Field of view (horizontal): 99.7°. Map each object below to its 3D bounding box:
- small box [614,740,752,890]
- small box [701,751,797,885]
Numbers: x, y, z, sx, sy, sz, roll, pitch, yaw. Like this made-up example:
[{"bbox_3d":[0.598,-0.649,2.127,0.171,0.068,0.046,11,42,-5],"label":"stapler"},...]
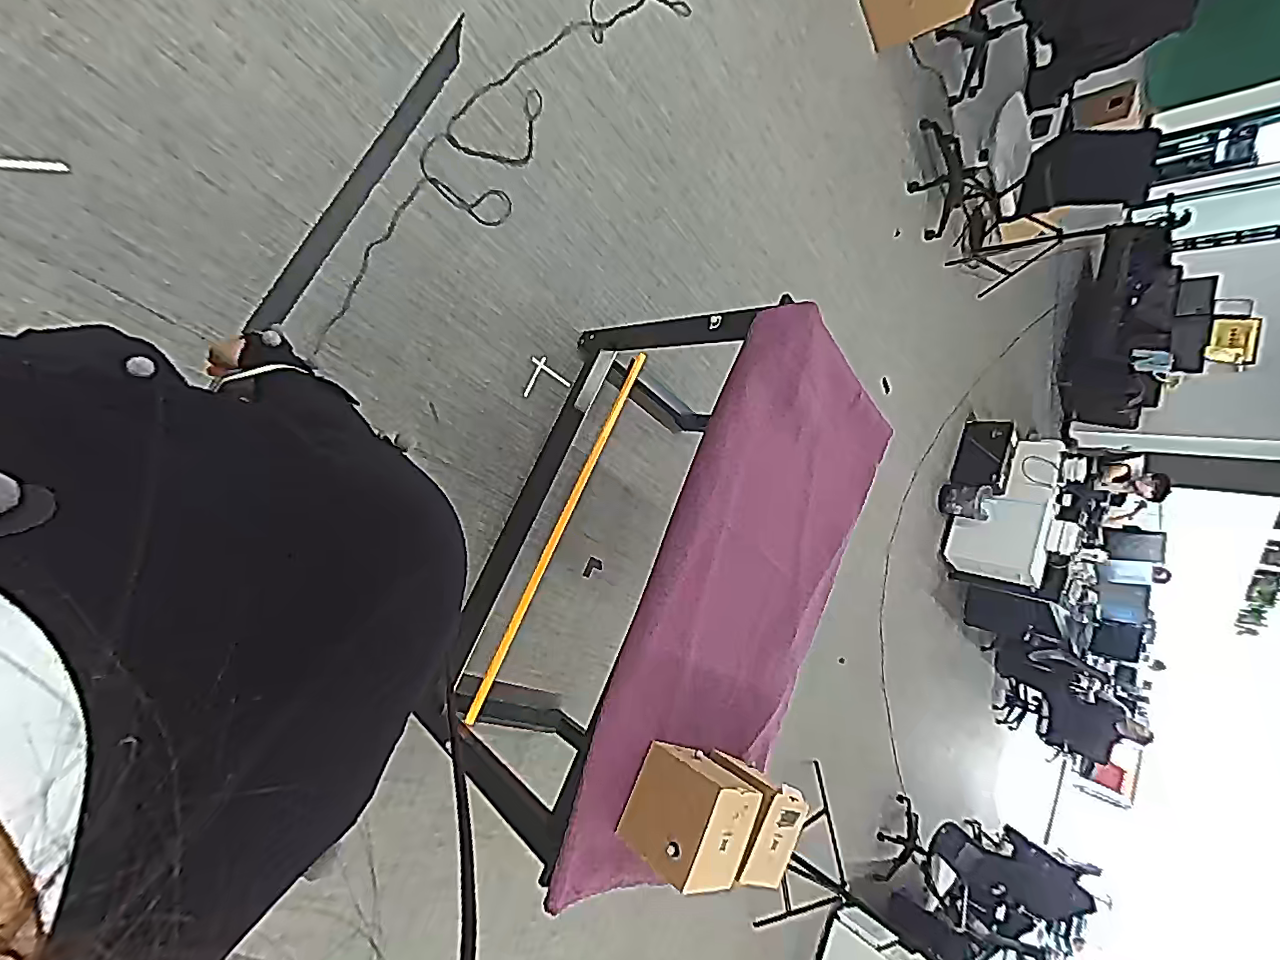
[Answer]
[{"bbox_3d":[0.076,0.621,1.011,0.168,0.176,0.179,39,70,-43],"label":"small box"},{"bbox_3d":[0.199,0.708,1.144,0.168,0.176,0.179,42,69,-38],"label":"small box"}]
